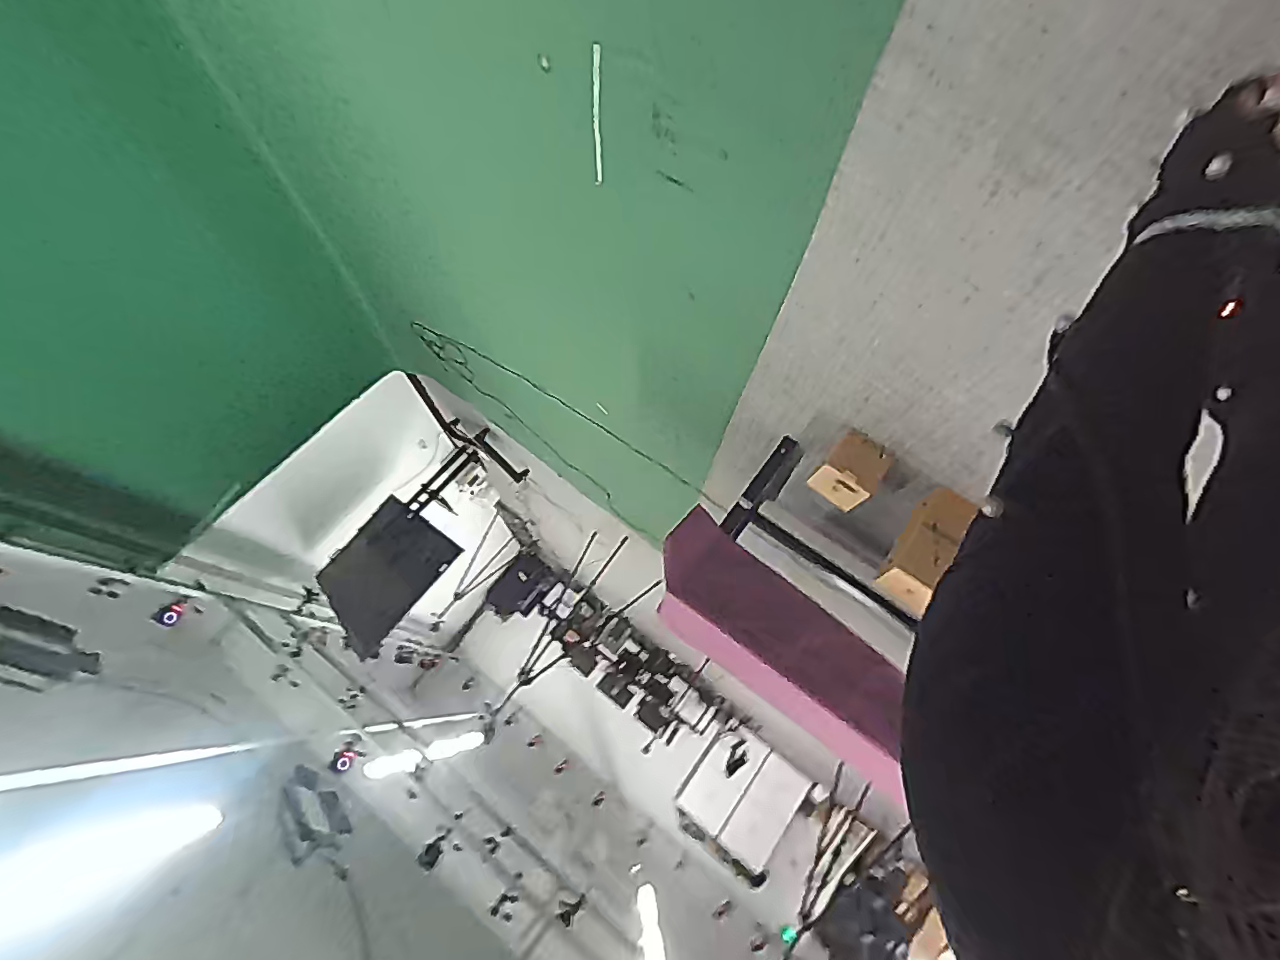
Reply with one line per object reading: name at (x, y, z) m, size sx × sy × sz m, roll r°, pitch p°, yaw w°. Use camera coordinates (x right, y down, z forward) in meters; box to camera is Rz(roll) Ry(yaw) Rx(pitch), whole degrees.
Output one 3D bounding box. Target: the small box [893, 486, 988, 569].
small box at (0.946, 0.149, 1.700) m, size 0.179 × 0.176 × 0.168 m, roll 37°, pitch 161°, yaw 13°
